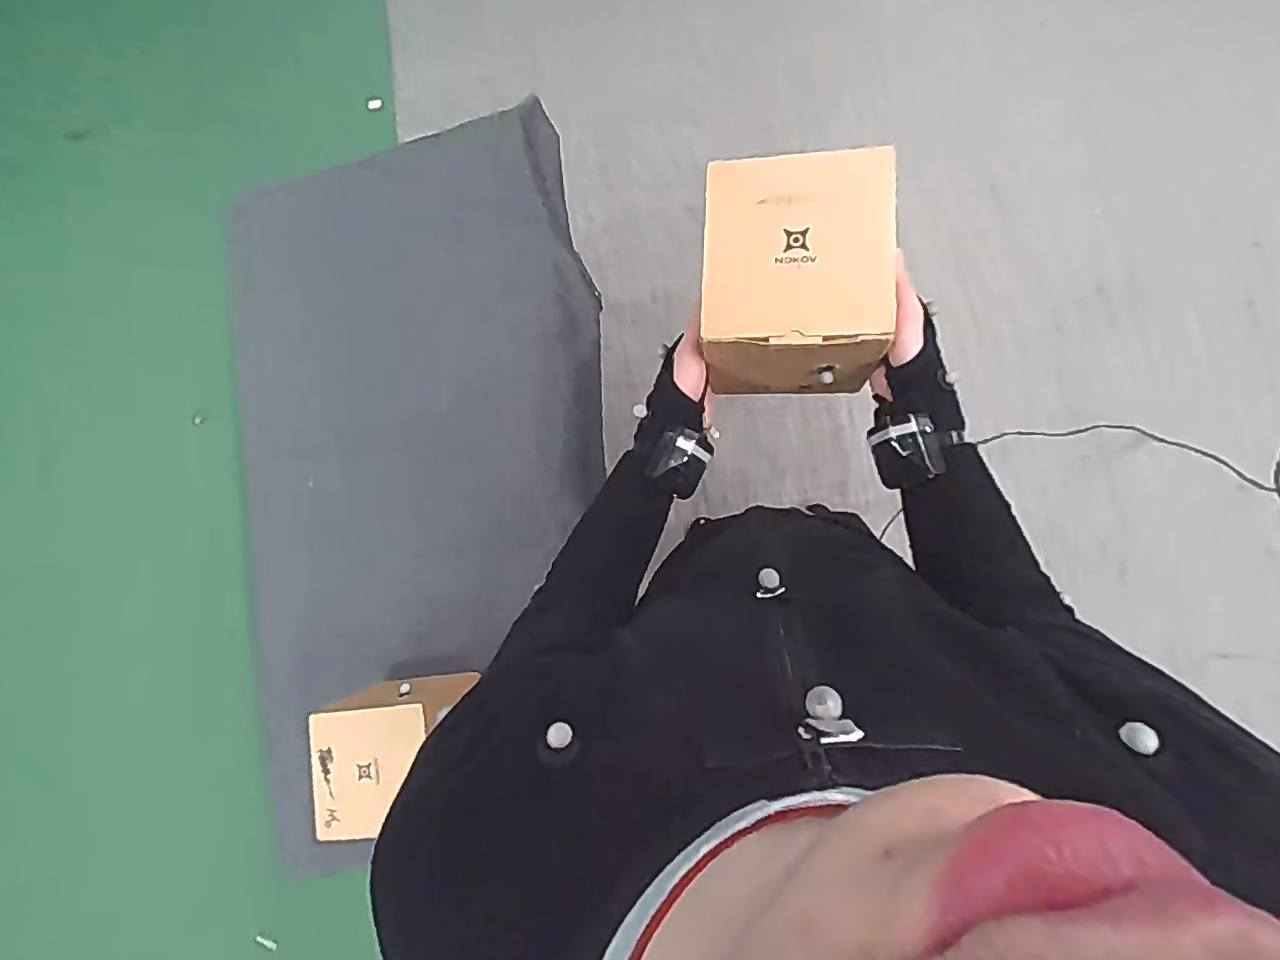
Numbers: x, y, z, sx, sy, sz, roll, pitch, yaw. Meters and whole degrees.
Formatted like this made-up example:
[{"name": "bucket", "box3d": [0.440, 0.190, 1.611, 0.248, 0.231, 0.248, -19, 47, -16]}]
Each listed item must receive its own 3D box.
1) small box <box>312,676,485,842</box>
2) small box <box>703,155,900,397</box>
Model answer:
[{"name": "small box", "box3d": [-0.340, 0.396, 0.794, 0.179, 0.176, 0.168, -9, 82, 7]}, {"name": "small box", "box3d": [0.156, -0.190, 0.554, 0.168, 0.176, 0.179, 2, 81, 10]}]
